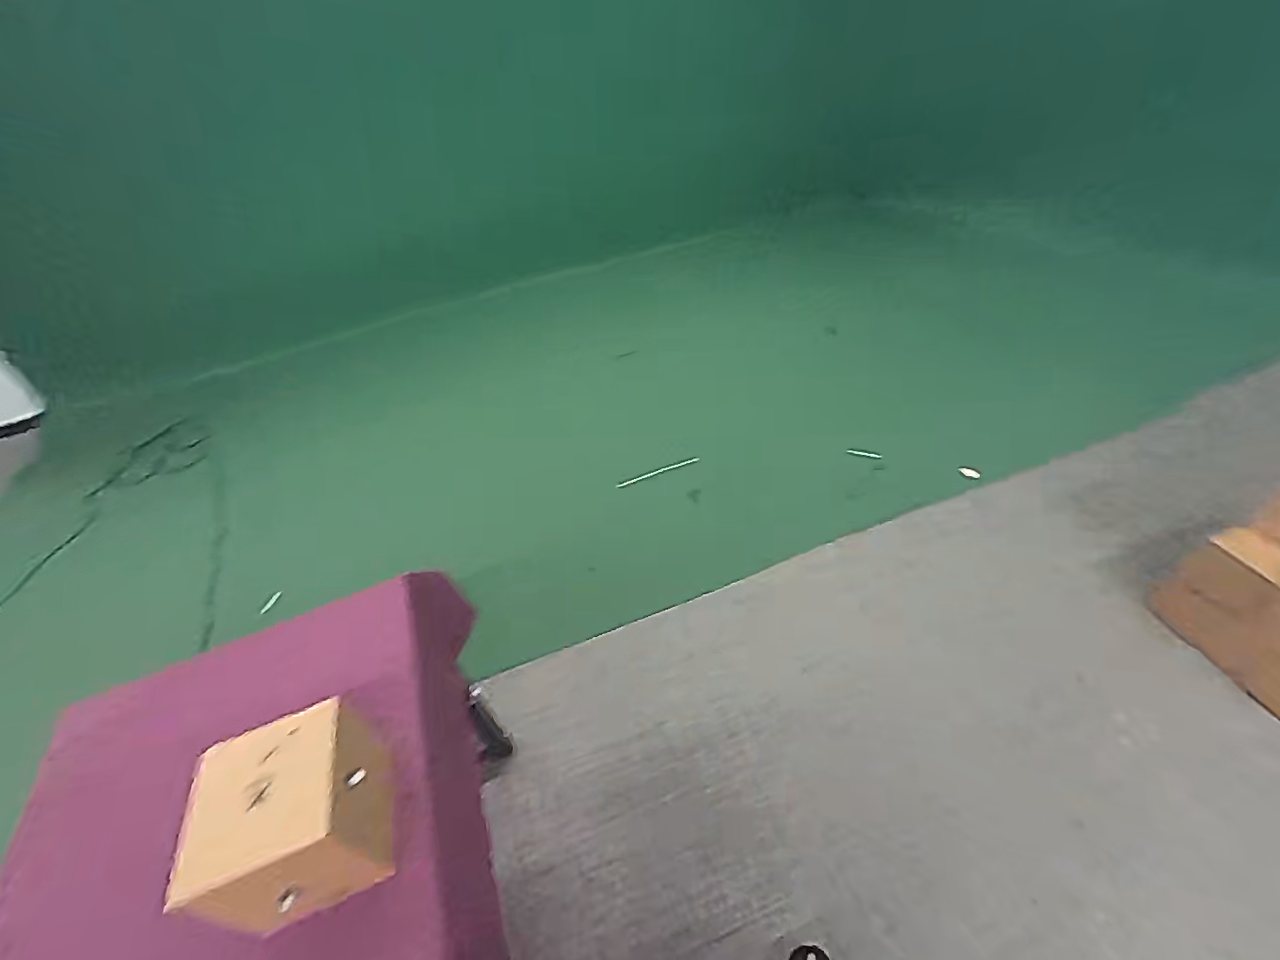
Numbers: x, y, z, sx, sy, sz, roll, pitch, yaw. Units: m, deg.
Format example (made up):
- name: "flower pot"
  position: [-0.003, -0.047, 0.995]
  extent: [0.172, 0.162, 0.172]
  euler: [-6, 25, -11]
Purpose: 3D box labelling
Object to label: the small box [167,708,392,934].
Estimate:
- name: "small box"
  position: [-0.429, 0.431, 0.681]
  extent: [0.168, 0.176, 0.179]
  euler: [-21, 42, -11]
